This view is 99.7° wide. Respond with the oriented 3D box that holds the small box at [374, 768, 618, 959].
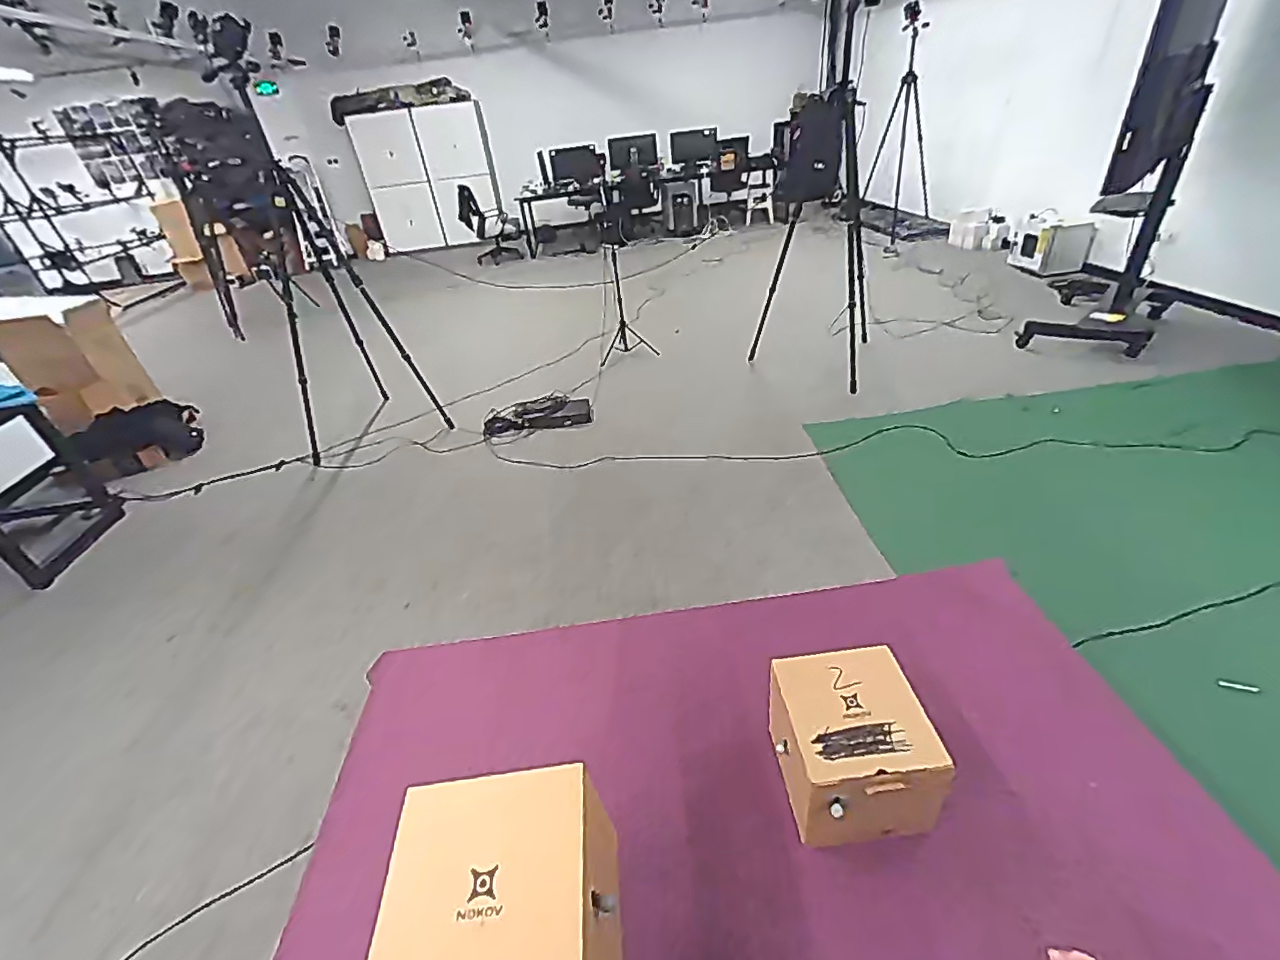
[{"bbox_3d":[-0.114,0.394,0.490,0.168,0.176,0.179,-9,41,2],"label":"small box"}]
